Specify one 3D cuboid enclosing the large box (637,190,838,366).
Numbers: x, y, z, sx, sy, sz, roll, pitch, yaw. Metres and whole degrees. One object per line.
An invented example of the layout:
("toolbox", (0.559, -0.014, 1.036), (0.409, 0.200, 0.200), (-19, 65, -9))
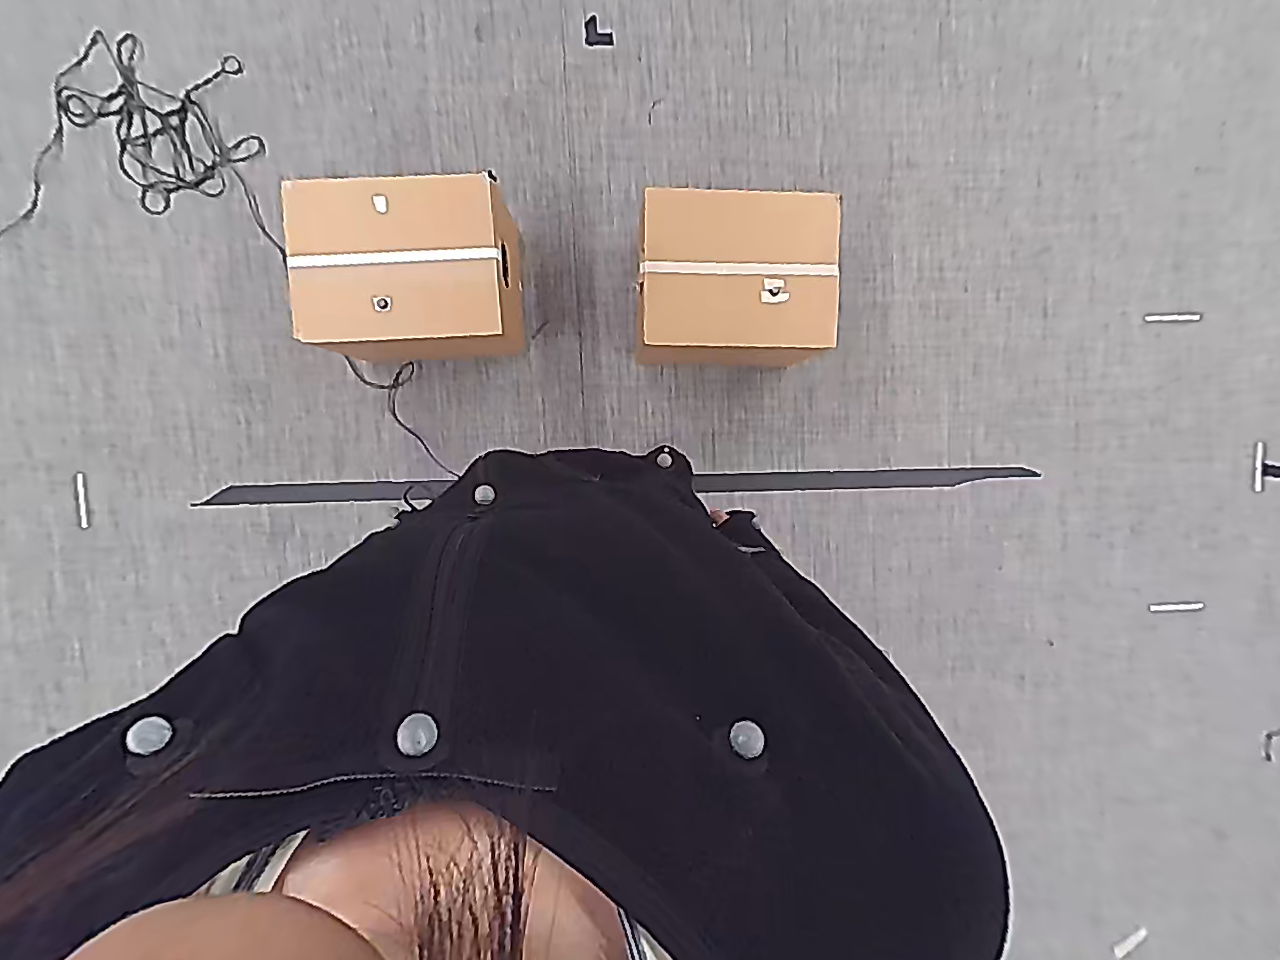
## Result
("large box", (0.201, -0.443, 1.262), (0.408, 0.320, 0.320), (0, 94, -4))
